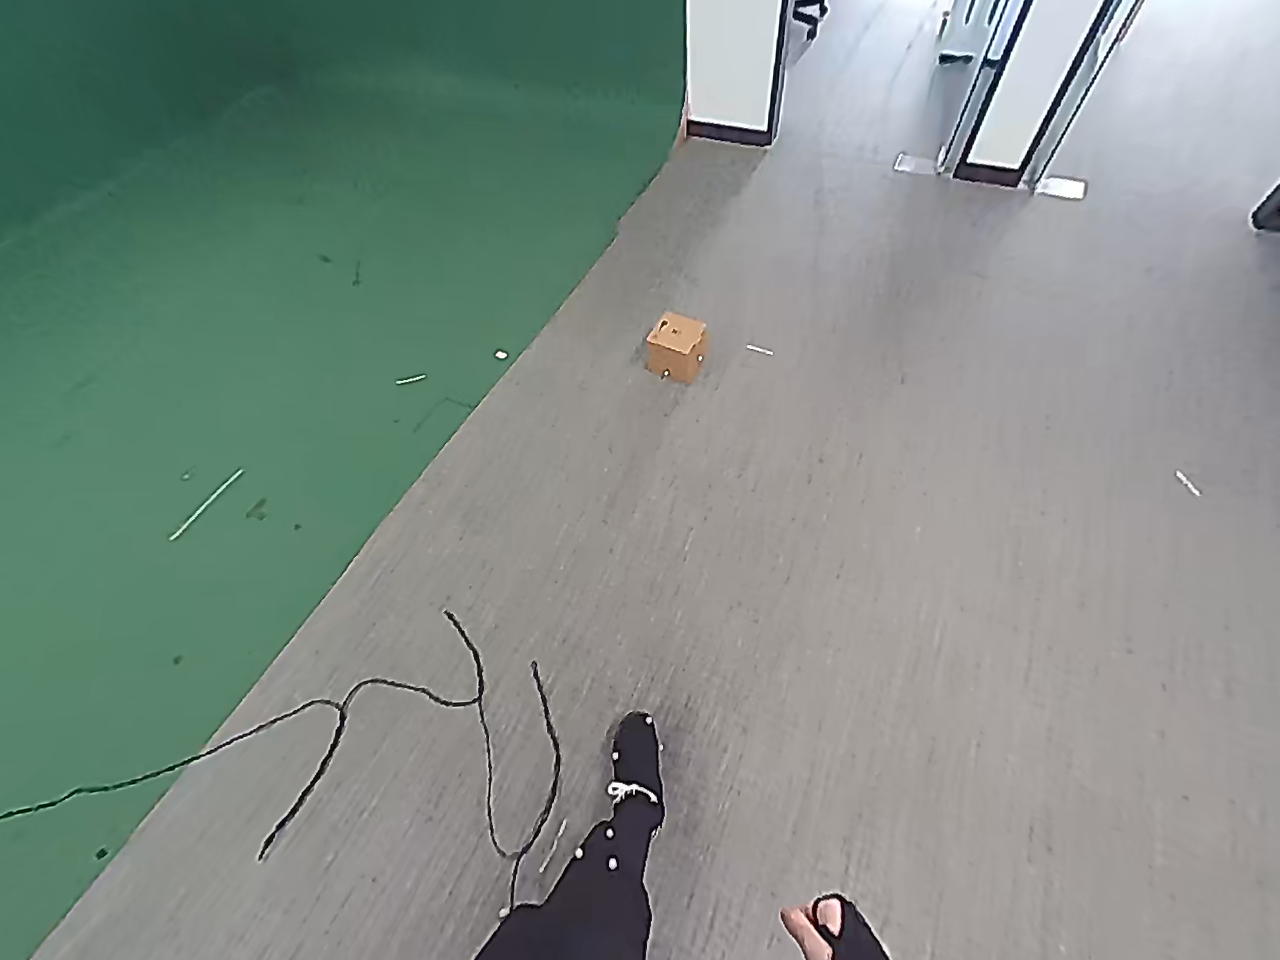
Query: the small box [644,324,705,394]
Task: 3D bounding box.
[{"bbox_3d":[0.133,-0.453,2.048,0.179,0.176,0.168,24,62,19],"label":"small box"}]
